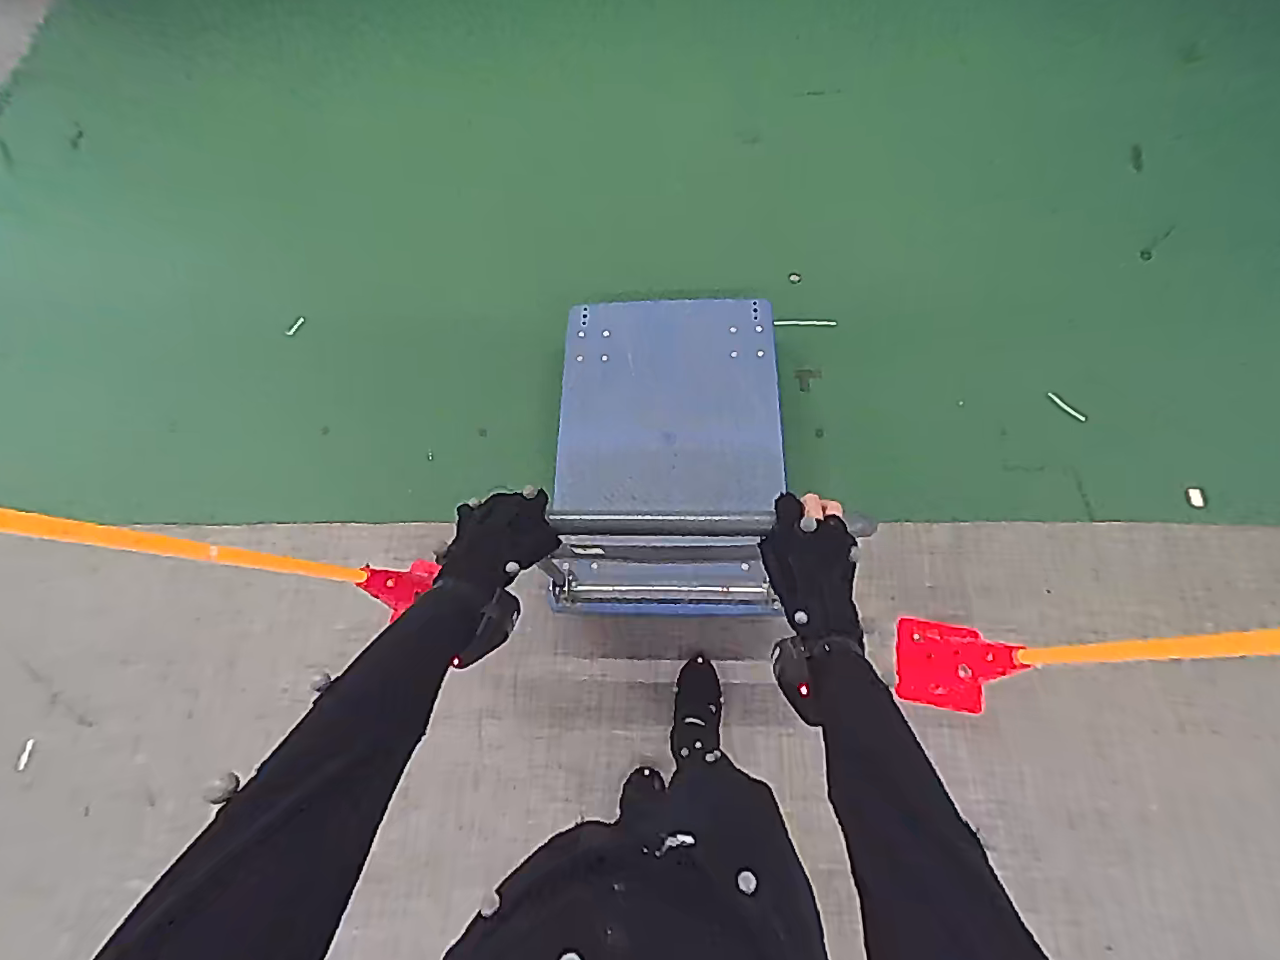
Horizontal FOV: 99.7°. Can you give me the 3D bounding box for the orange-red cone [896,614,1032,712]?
[{"bbox_3d":[0.709,0.379,1.143,0.198,0.360,0.199,10,71,9],"label":"orange-red cone"}]
